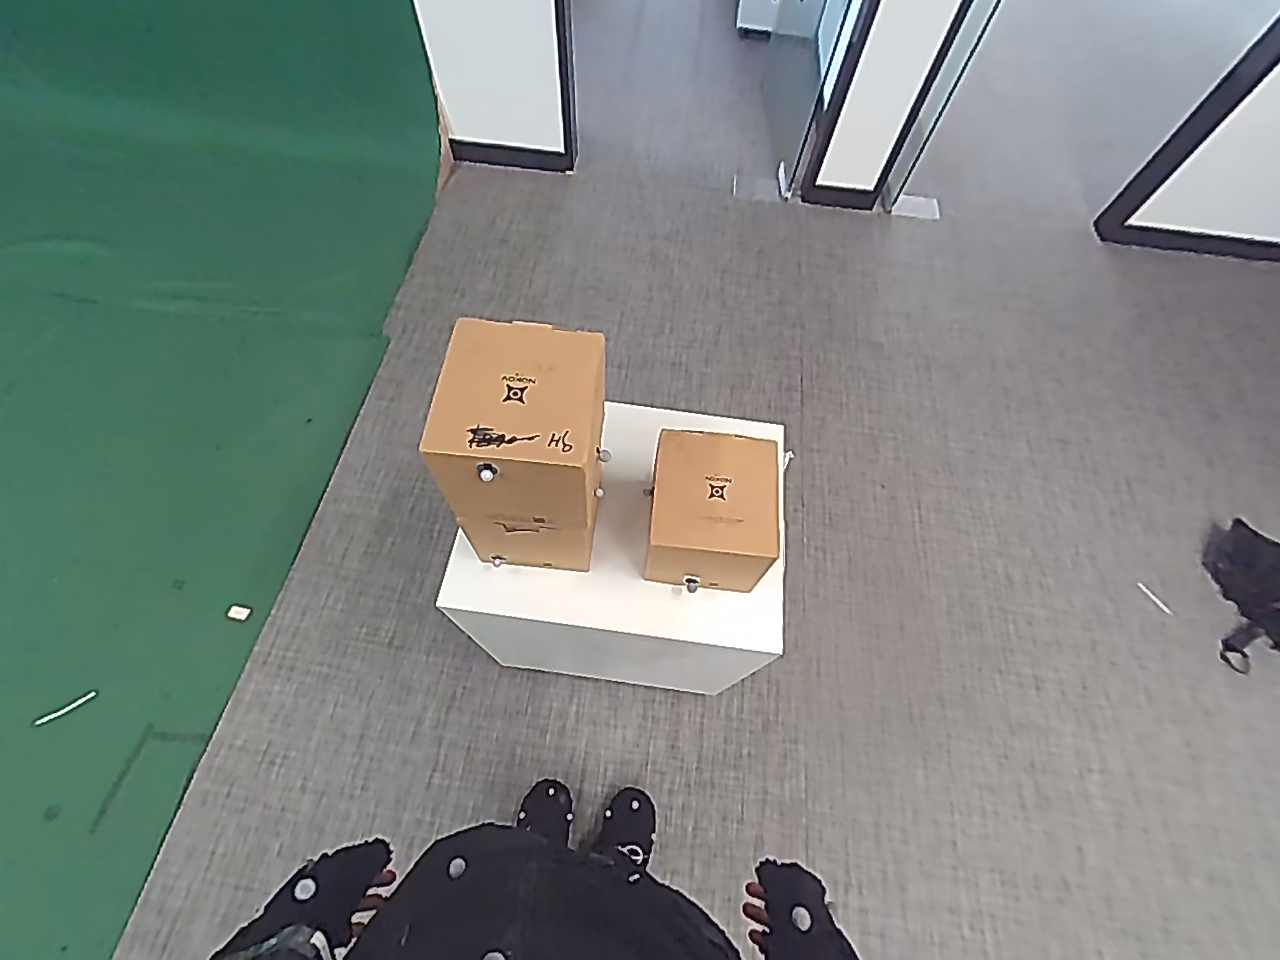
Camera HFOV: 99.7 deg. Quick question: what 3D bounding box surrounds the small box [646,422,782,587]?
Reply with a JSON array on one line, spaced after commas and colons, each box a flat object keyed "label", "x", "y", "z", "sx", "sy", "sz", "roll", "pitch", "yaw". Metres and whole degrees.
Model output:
[{"label": "small box", "x": 0.097, "y": 0.040, "z": 0.771, "sx": 0.168, "sy": 0.176, "sz": 0.179, "roll": 4, "pitch": 65, "yaw": 1}]

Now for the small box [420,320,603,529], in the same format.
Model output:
[{"label": "small box", "x": -0.135, "y": -0.060, "z": 0.642, "sx": 0.168, "sy": 0.176, "sz": 0.179, "roll": 5, "pitch": 62, "yaw": -1}]

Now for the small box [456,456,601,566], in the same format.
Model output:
[{"label": "small box", "x": -0.147, "y": 0.014, "z": 0.786, "sx": 0.168, "sy": 0.176, "sz": 0.179, "roll": 5, "pitch": 62, "yaw": -1}]
